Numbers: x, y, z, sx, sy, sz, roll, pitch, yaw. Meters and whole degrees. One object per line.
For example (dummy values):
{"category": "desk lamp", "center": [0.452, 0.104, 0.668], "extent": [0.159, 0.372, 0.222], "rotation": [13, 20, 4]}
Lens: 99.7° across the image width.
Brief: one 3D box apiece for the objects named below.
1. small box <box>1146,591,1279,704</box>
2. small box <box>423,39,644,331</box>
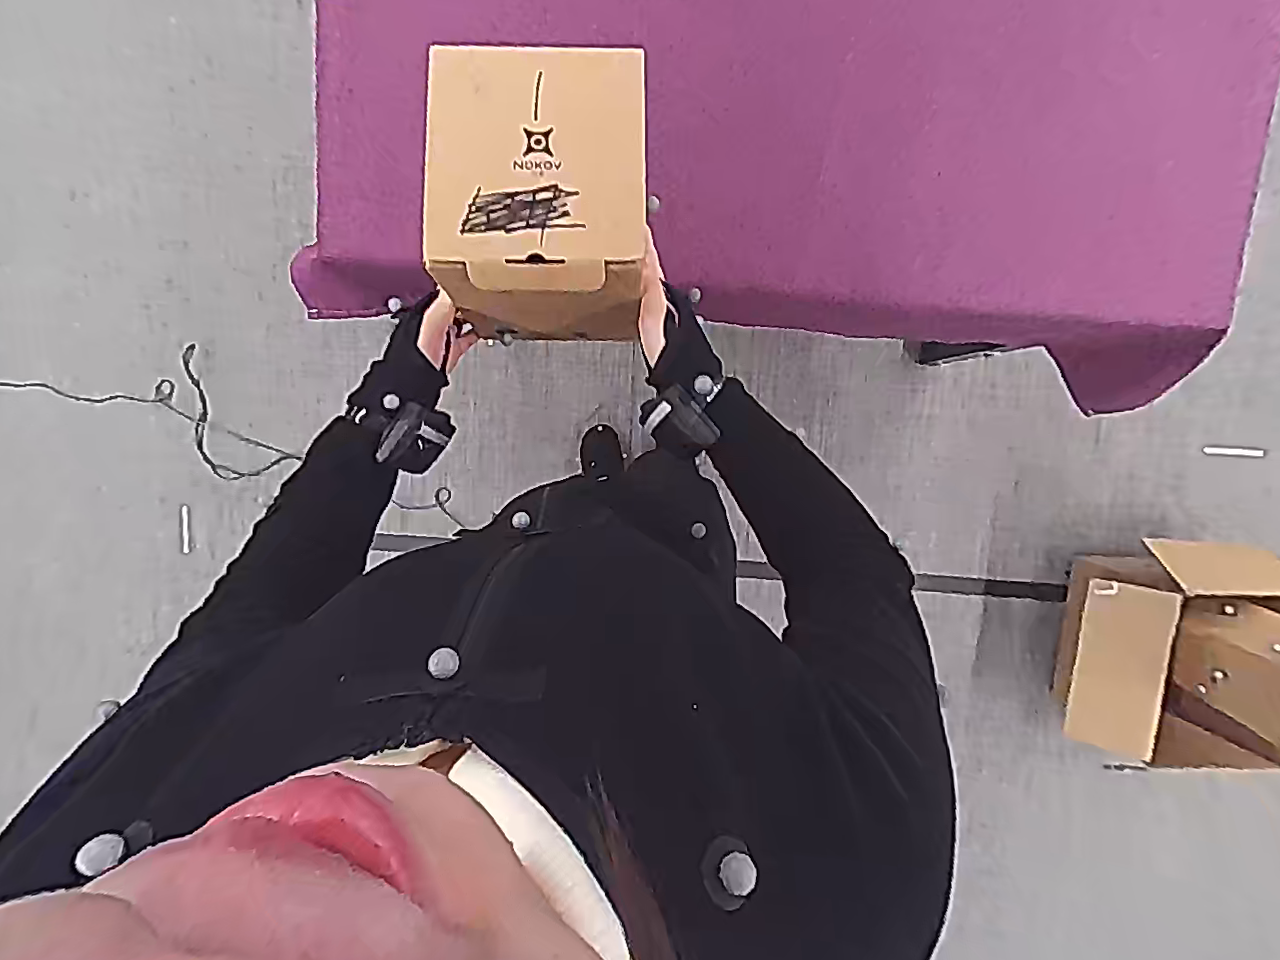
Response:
{"category": "small box", "center": [1.307, 0.369, 1.226], "extent": [0.168, 0.176, 0.179], "rotation": [-17, 99, 7]}
{"category": "small box", "center": [-0.080, -0.244, 0.488], "extent": [0.168, 0.176, 0.179], "rotation": [0, 84, -2]}
